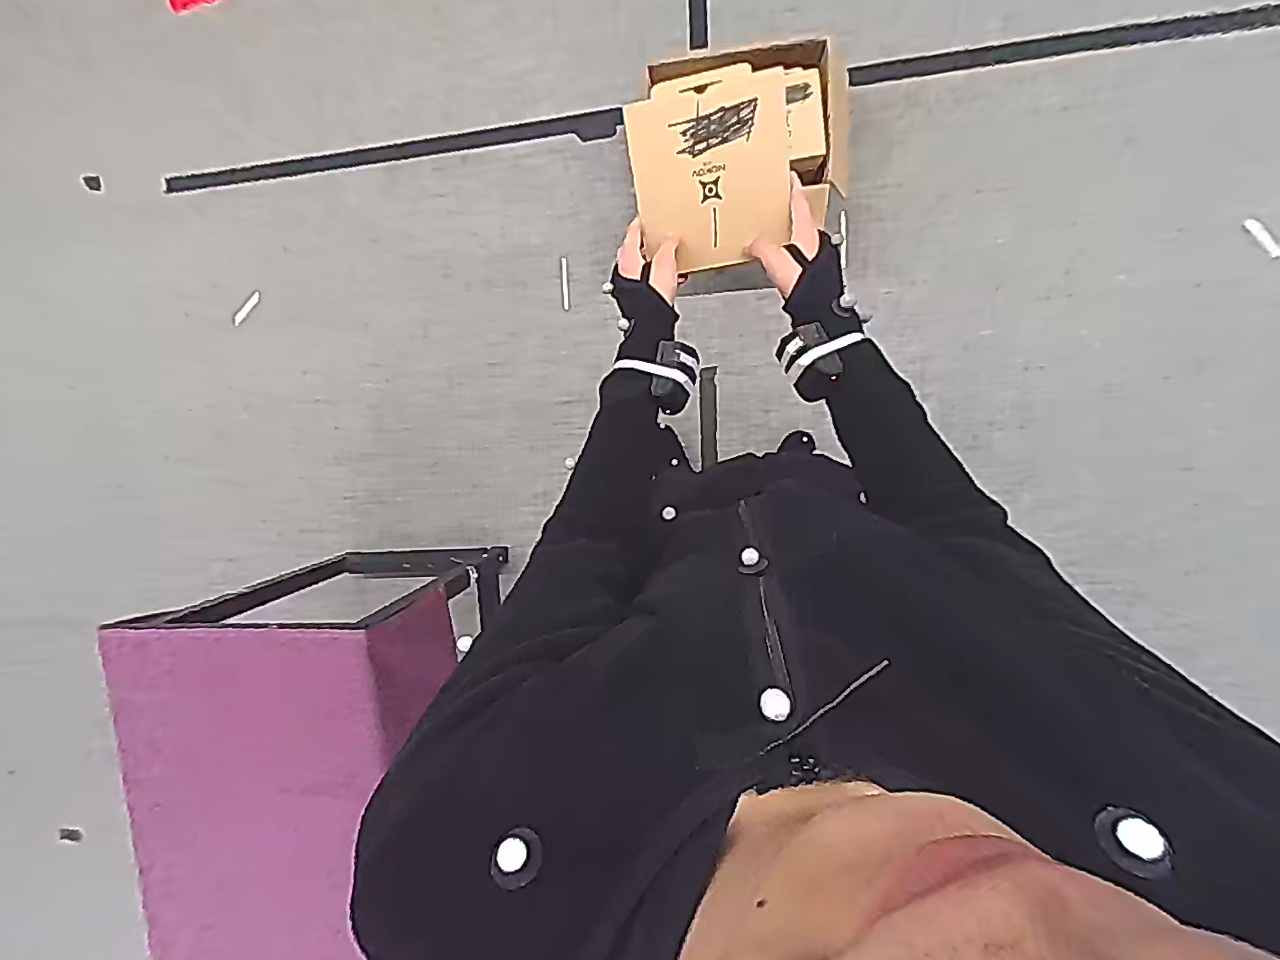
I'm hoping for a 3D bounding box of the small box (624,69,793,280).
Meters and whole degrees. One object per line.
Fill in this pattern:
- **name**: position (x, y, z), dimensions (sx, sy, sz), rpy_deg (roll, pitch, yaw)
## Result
- **small box**: position (0.087, -0.342, 0.645), dimensions (0.168, 0.176, 0.179), rpy_deg (-6, 110, 13)
